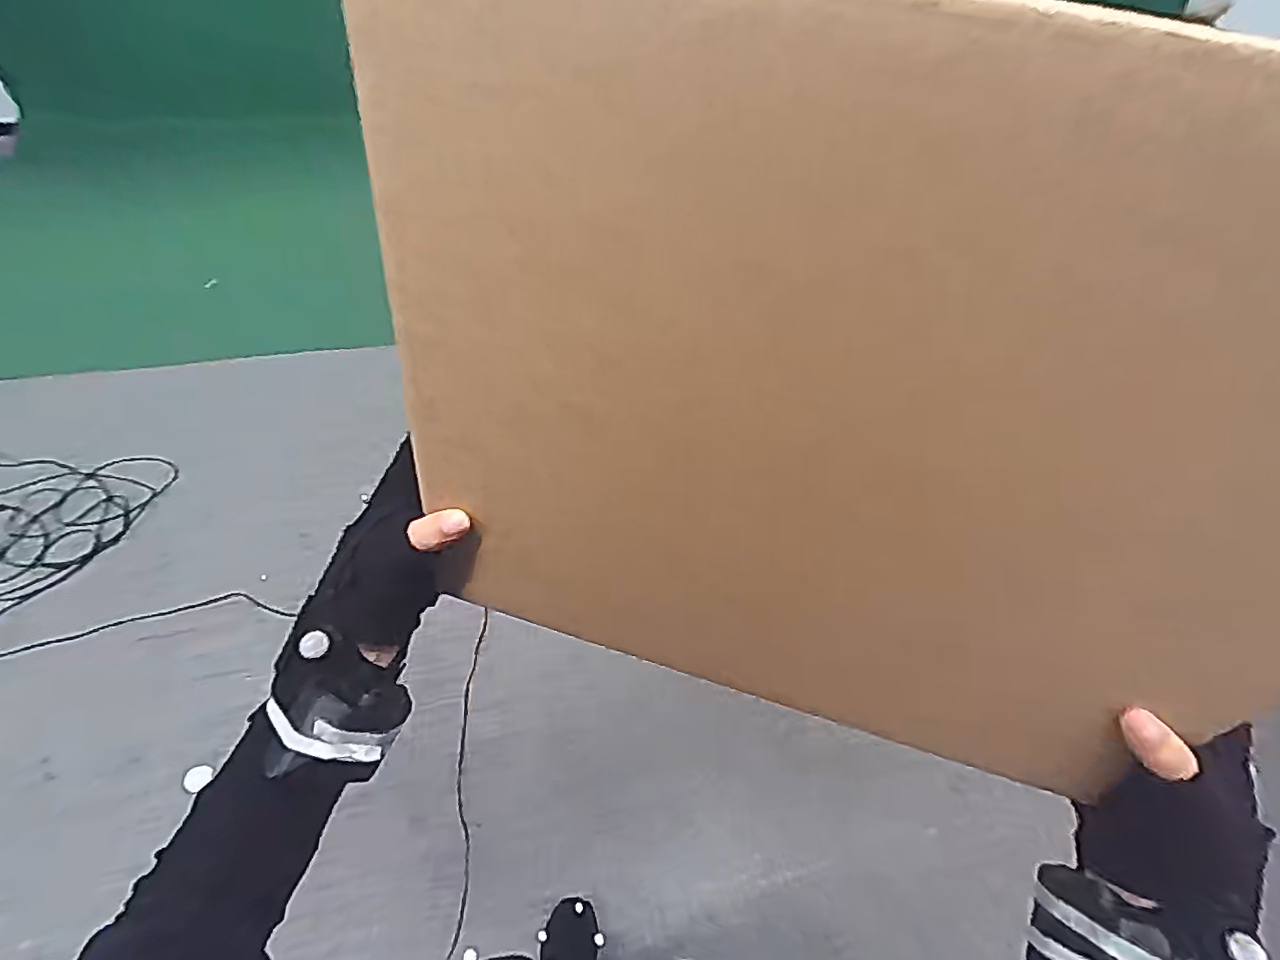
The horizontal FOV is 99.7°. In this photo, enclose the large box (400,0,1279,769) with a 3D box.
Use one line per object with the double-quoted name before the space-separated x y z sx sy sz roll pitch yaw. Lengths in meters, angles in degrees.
"large box" 0.122 -0.081 0.349 0.408 0.320 0.320 16 41 4
